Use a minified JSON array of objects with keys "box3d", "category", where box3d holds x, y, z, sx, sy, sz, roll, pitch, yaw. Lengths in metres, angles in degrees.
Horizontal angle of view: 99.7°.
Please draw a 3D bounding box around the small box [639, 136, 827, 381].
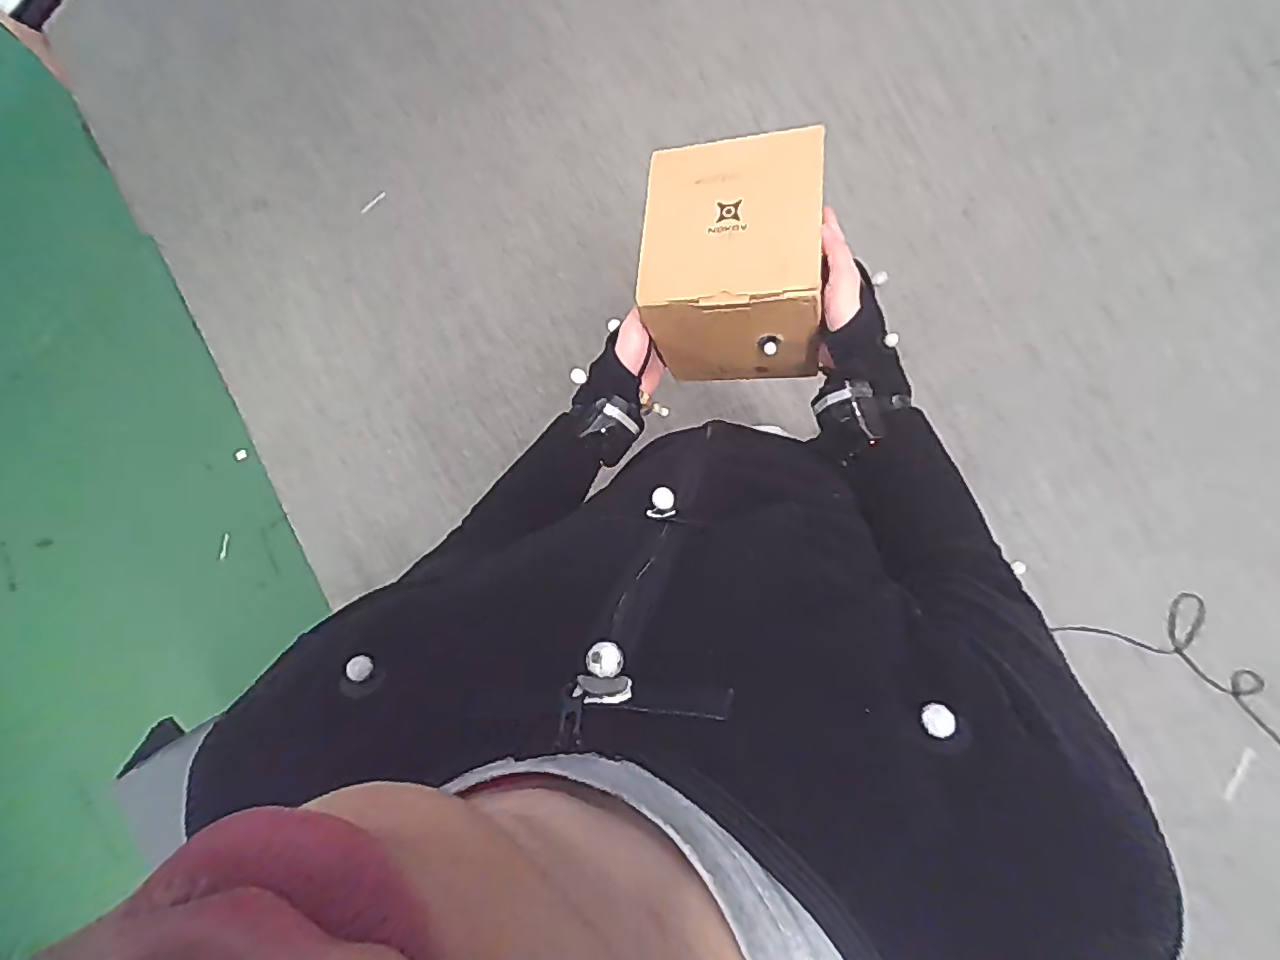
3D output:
[{"box3d":[0.106,-0.215,0.572,0.168,0.176,0.179,2,73,16],"category":"small box"}]
